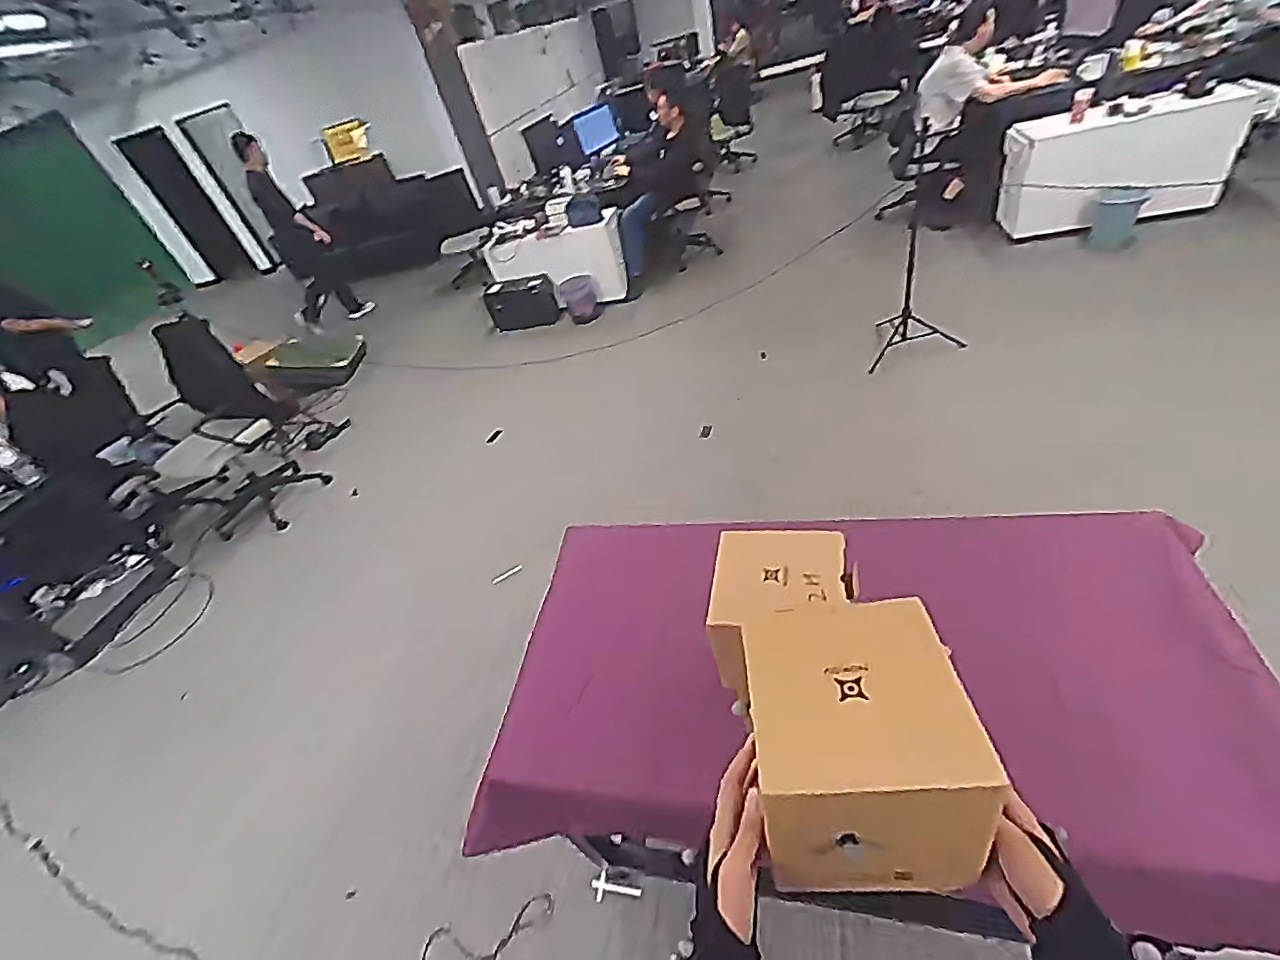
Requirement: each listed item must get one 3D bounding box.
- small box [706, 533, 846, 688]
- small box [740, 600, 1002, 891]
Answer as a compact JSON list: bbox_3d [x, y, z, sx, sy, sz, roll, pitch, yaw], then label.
[{"bbox_3d":[0.204,0.193,0.780,0.179,0.176,0.168,-1,42,19],"label":"small box"},{"bbox_3d":[0.187,0.236,0.482,0.168,0.176,0.179,-8,31,10],"label":"small box"}]
